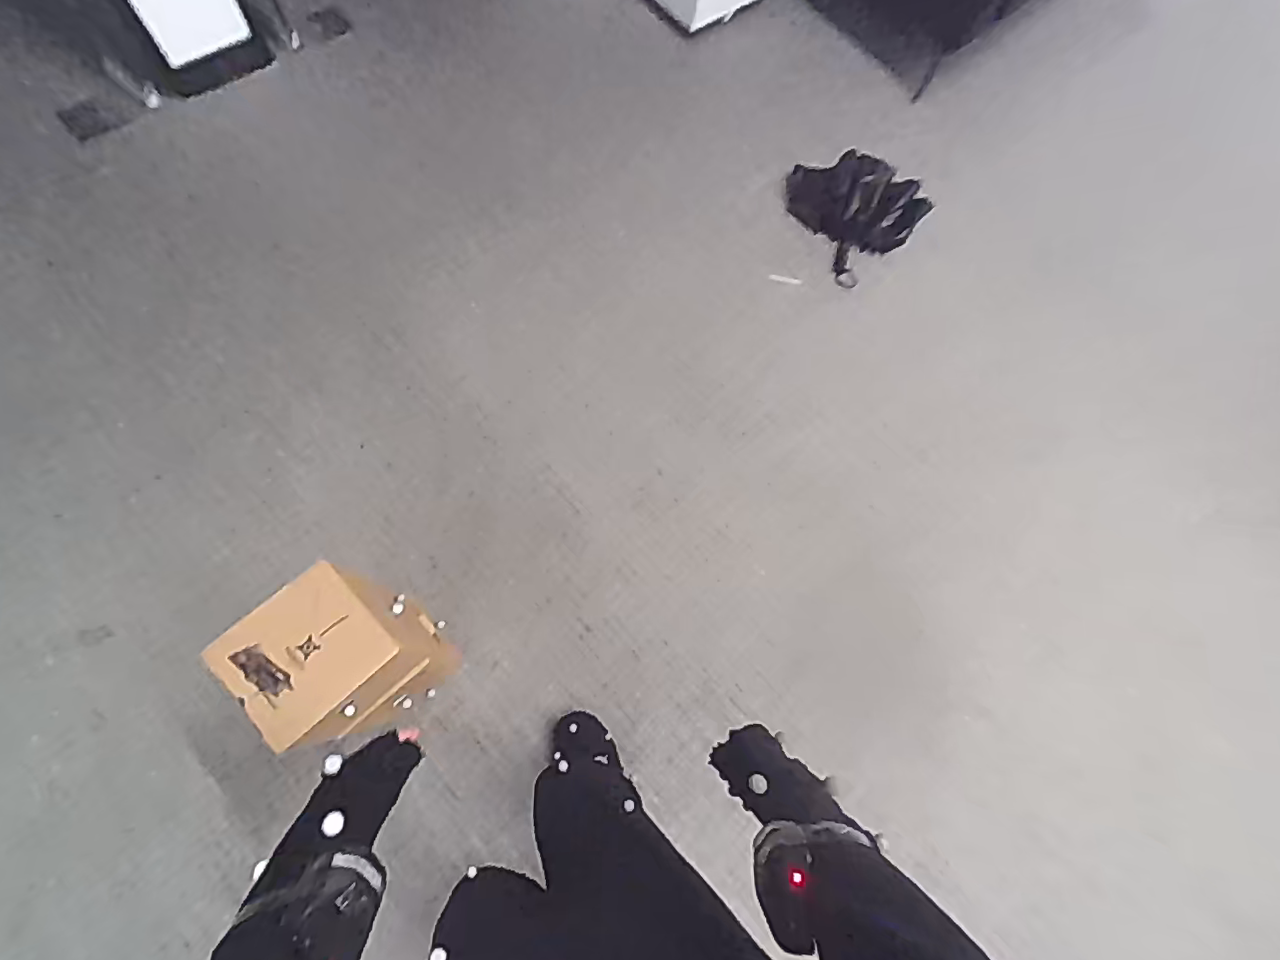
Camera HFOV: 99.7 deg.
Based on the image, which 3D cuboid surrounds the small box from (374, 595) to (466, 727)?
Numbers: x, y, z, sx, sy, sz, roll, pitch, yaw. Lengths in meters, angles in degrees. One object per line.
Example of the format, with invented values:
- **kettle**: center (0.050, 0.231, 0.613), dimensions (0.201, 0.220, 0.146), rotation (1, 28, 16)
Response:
- **small box**: center (-0.462, 0.351, 1.065), dimensions (0.179, 0.176, 0.168), rotation (-38, 79, -17)

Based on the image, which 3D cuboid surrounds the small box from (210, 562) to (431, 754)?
- **small box**: center (-0.428, 0.244, 0.757), dimensions (0.179, 0.176, 0.168), rotation (-41, 80, -17)

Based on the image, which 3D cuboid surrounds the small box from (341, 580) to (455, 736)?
- **small box**: center (-0.443, 0.296, 0.912), dimensions (0.168, 0.176, 0.179), rotation (-40, 81, -16)
